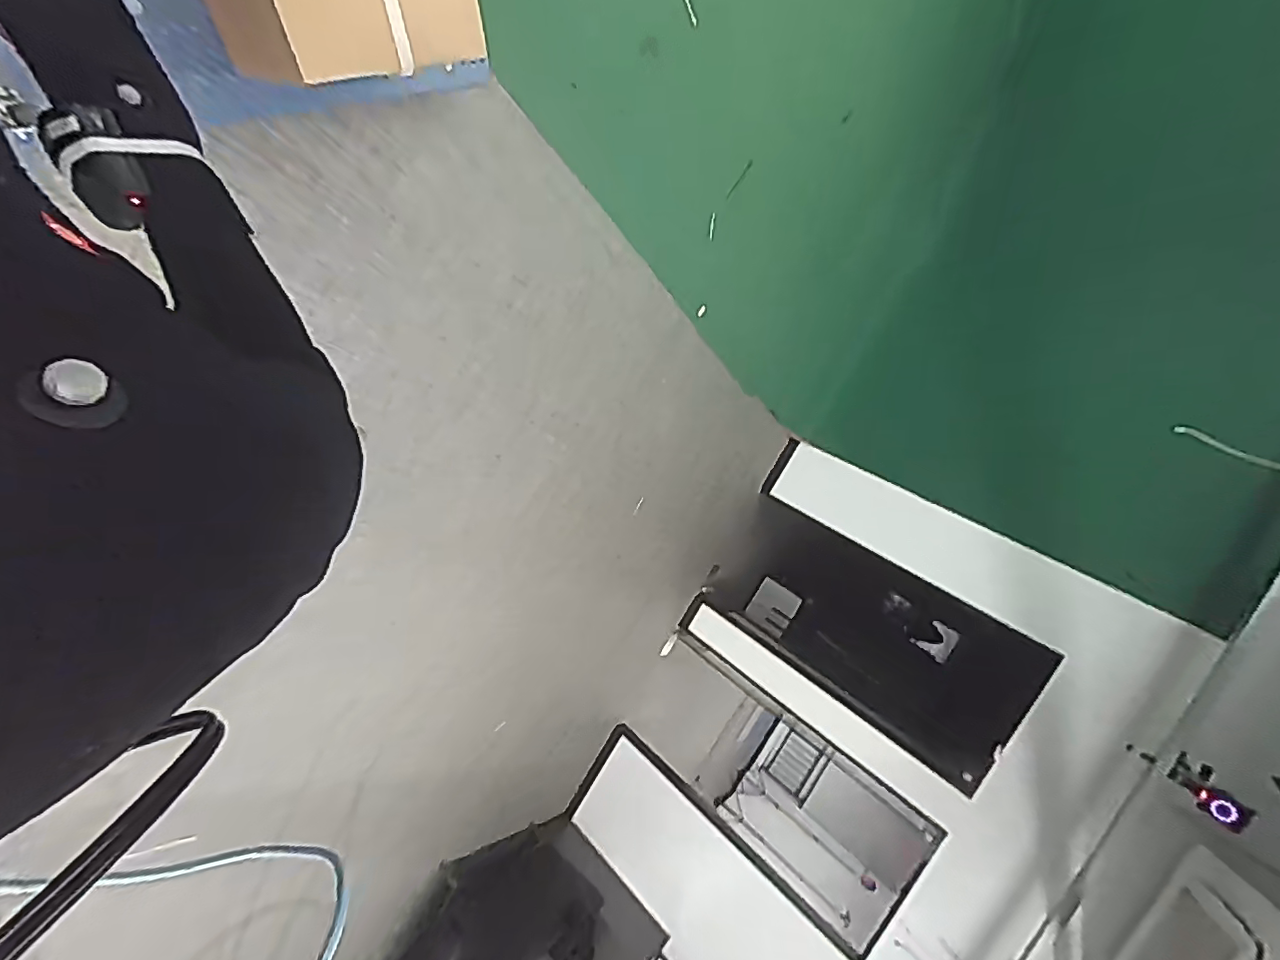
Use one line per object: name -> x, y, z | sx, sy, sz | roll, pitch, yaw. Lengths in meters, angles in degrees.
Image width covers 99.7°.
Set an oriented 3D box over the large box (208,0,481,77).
large box -> -0.493, -0.863, 0.786 | 0.320, 0.320, 0.408 | -38, 142, -30
